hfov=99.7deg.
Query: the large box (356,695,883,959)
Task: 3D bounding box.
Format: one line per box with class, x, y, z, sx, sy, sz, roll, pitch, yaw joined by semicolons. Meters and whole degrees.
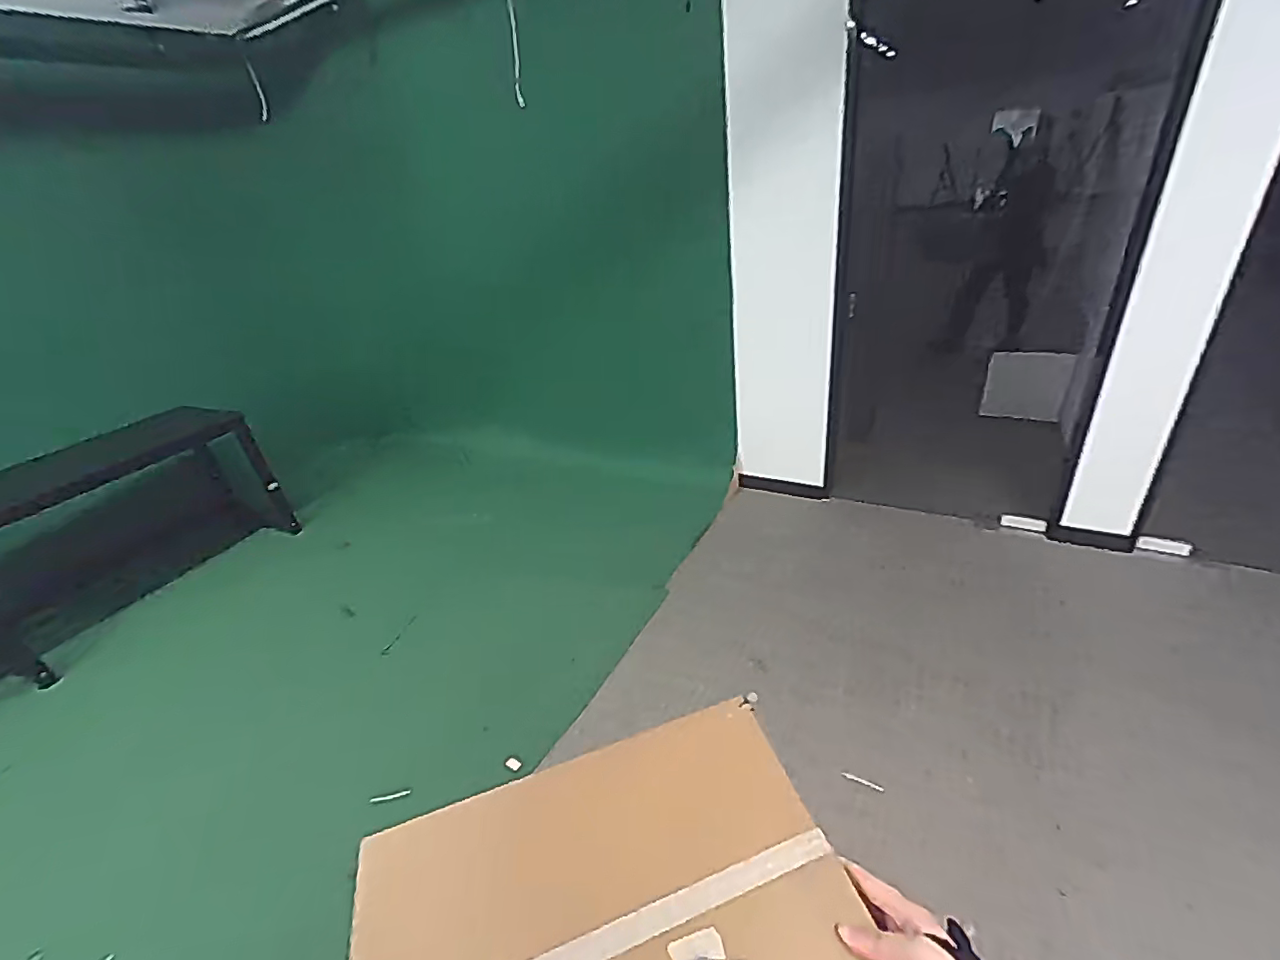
large box;-0.020;0.494;0.530;0.408;0.320;0.320;-15;36;-13
